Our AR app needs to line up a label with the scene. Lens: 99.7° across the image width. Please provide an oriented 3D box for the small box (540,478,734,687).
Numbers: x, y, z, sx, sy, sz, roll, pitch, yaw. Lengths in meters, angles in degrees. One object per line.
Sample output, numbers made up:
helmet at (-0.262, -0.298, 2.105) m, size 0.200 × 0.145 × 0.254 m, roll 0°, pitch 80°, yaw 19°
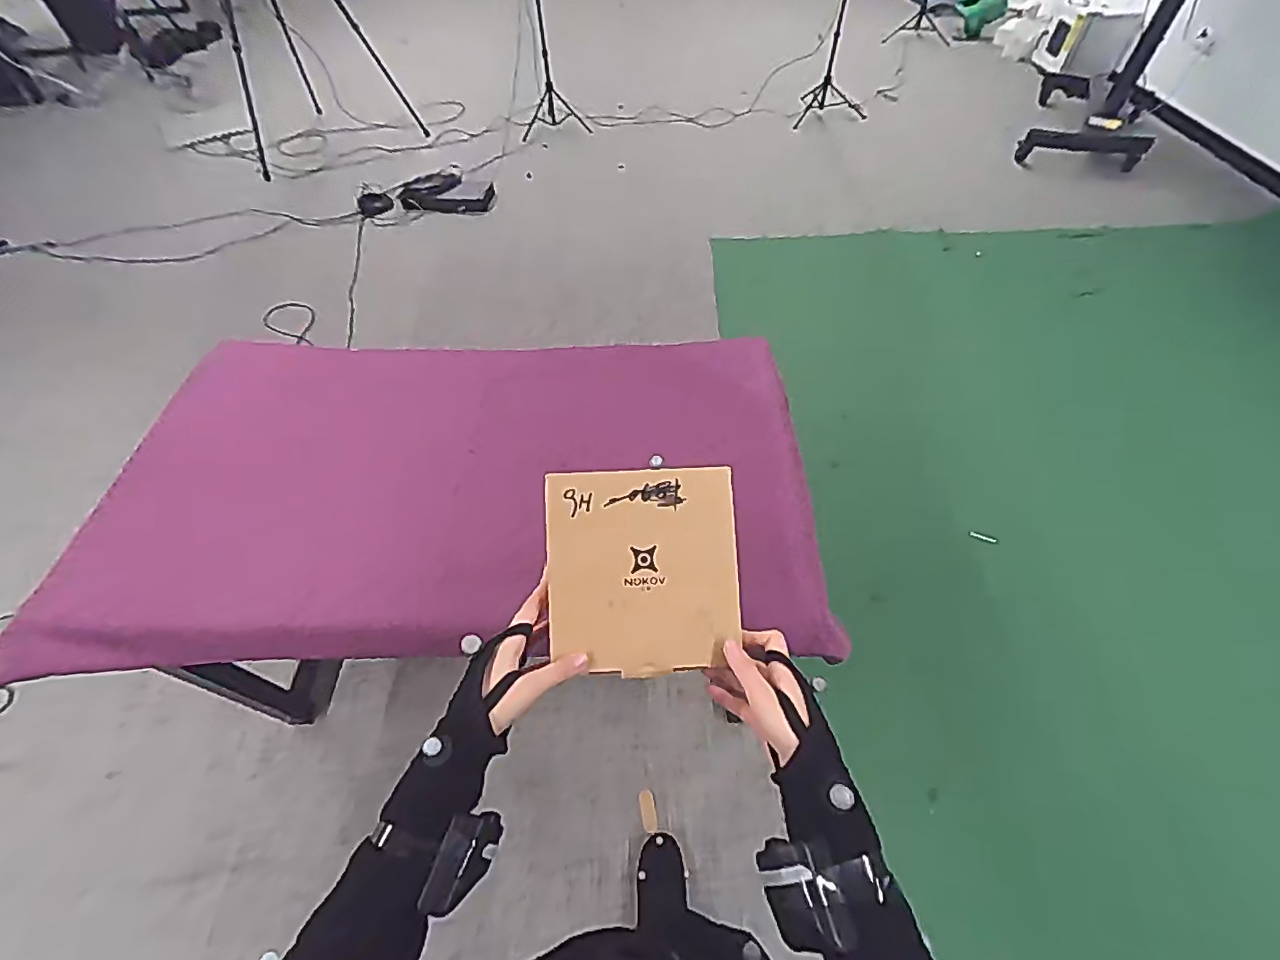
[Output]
small box at (-0.005, 0.092, 0.543) m, size 0.168 × 0.176 × 0.179 m, roll -2°, pitch 85°, yaw -3°
